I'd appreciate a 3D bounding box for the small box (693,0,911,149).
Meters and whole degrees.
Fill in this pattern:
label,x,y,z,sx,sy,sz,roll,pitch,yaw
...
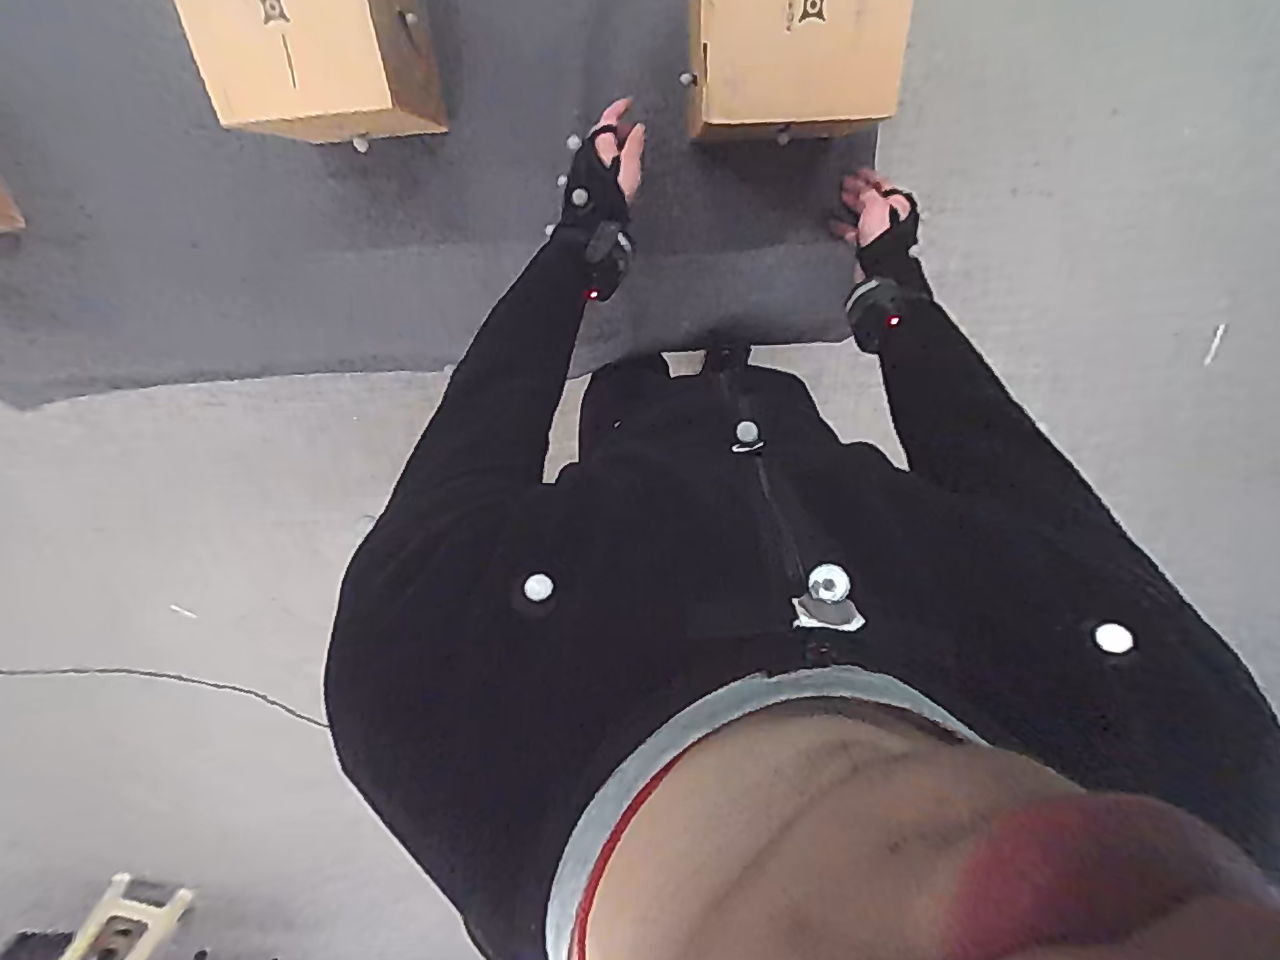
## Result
label,x,y,z,sx,sy,sz,roll,pitch,yaw
small box,0.146,-0.435,0.541,0.179,0.176,0.168,-2,118,0

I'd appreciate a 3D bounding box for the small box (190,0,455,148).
label,x,y,z,sx,sy,sz,roll,pitch,yaw
small box,-0.301,-0.442,0.533,0.168,0.176,0.179,-4,118,2

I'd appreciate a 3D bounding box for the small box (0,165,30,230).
label,x,y,z,sx,sy,sz,roll,pitch,yaw
small box,-0.844,-0.353,0.575,0.168,0.176,0.179,-6,117,2
